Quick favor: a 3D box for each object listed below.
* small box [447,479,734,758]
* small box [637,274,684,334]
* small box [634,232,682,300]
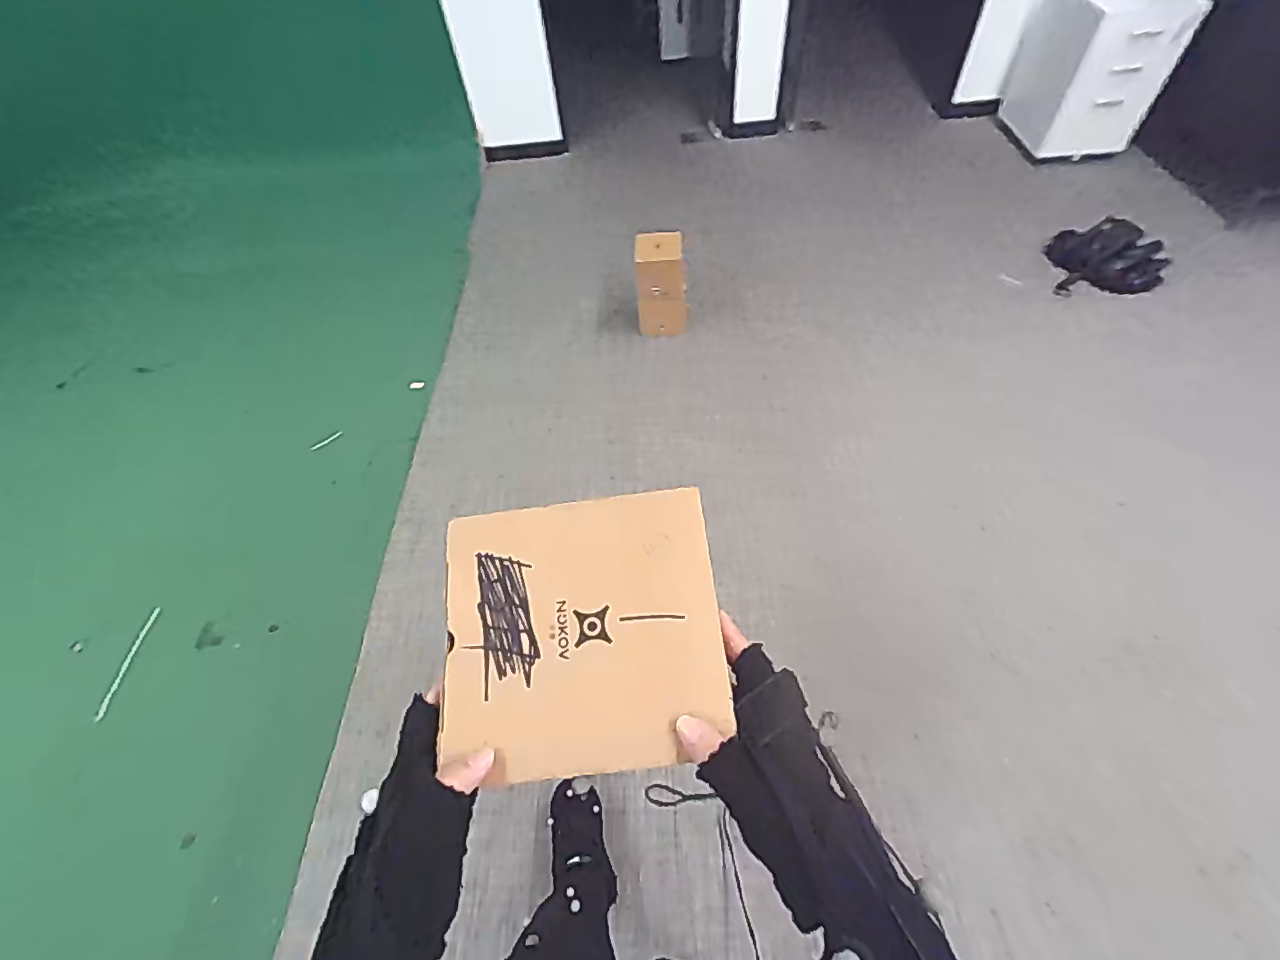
[{"bbox_3d":[-0.029,0.114,0.421,0.179,0.176,0.168,-7,68,3],"label":"small box"},{"bbox_3d":[0.085,-0.692,2.130,0.179,0.176,0.168,0,54,5],"label":"small box"},{"bbox_3d":[0.070,-0.791,2.002,0.168,0.176,0.179,-2,55,6],"label":"small box"}]
